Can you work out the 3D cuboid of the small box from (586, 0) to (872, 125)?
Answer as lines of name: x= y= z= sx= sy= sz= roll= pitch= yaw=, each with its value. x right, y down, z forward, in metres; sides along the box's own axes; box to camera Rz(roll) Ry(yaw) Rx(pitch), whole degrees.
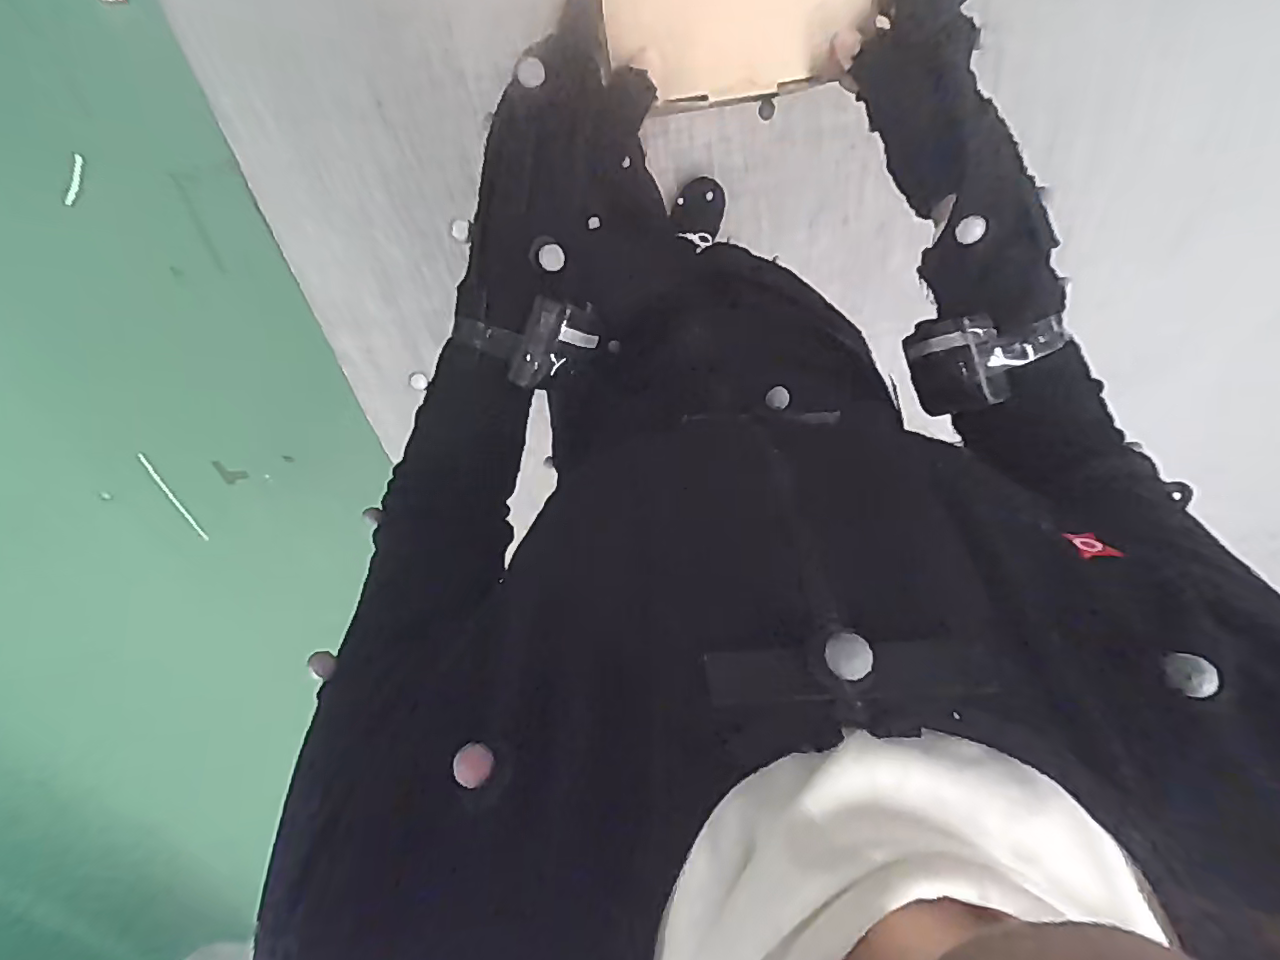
small box: x=0.042 y=-0.357 z=0.360 sx=0.168 sy=0.176 sz=0.179 roll=-12 pitch=123 yaw=4
